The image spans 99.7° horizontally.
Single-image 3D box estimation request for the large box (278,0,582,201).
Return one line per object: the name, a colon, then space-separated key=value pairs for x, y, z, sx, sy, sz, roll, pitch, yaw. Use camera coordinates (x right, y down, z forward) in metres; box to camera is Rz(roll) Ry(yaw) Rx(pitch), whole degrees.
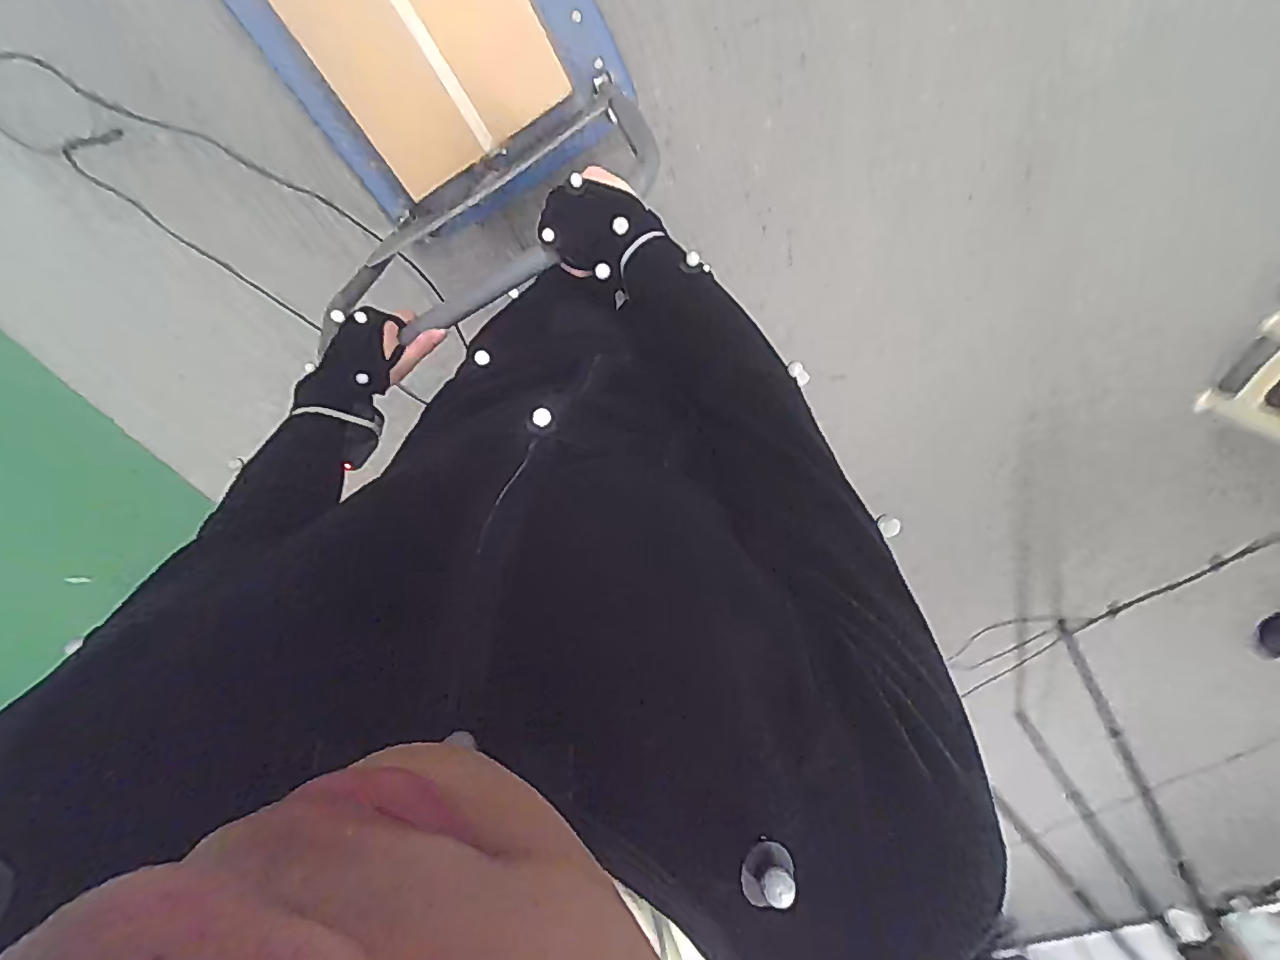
large box: x=-0.333 y=-0.755 z=0.892 sx=0.320 sy=0.320 sz=0.408 roll=-26 pitch=124 yaw=14
